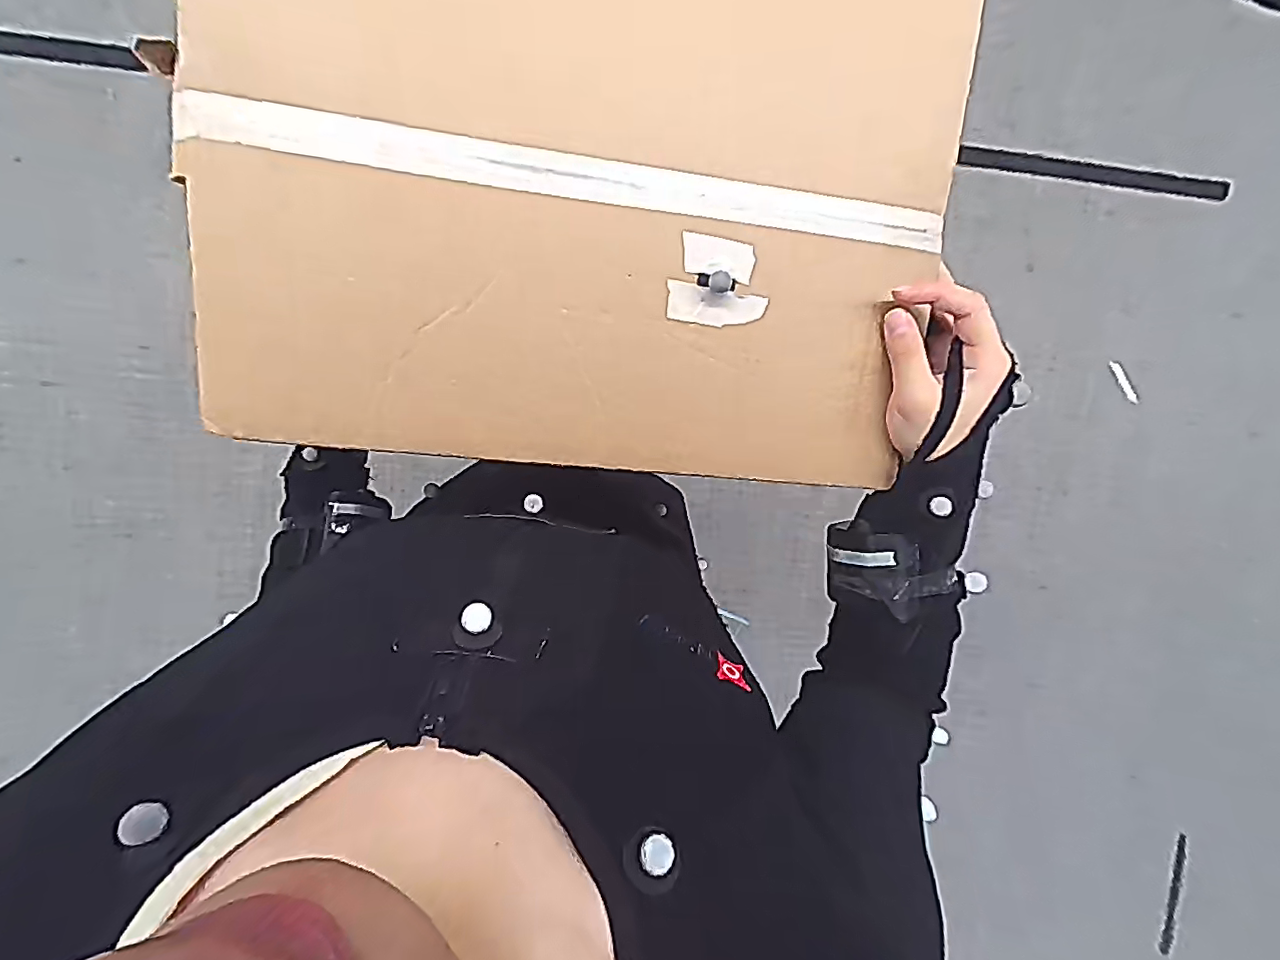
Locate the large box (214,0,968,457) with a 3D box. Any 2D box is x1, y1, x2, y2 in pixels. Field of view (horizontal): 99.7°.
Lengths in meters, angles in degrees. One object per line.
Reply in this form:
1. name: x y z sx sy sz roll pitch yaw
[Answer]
1. large box: -0.040 -0.203 0.445 0.408 0.320 0.320 4 101 -11
